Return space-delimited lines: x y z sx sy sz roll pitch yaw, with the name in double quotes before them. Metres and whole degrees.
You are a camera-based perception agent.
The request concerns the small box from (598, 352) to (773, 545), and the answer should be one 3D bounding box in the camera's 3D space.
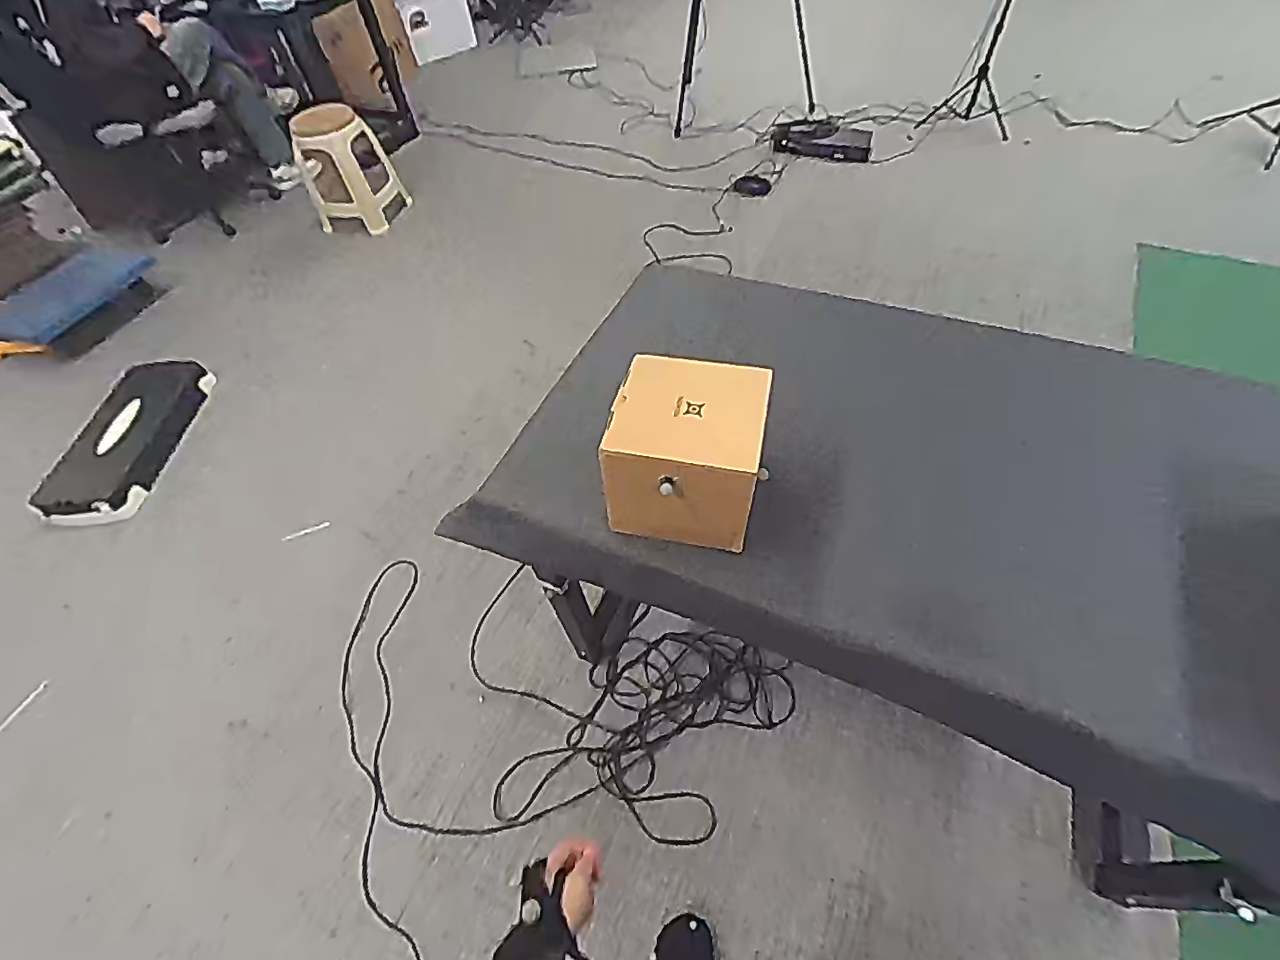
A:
"small box" 0.061 -0.035 0.683 0.179 0.176 0.168 9 54 11
